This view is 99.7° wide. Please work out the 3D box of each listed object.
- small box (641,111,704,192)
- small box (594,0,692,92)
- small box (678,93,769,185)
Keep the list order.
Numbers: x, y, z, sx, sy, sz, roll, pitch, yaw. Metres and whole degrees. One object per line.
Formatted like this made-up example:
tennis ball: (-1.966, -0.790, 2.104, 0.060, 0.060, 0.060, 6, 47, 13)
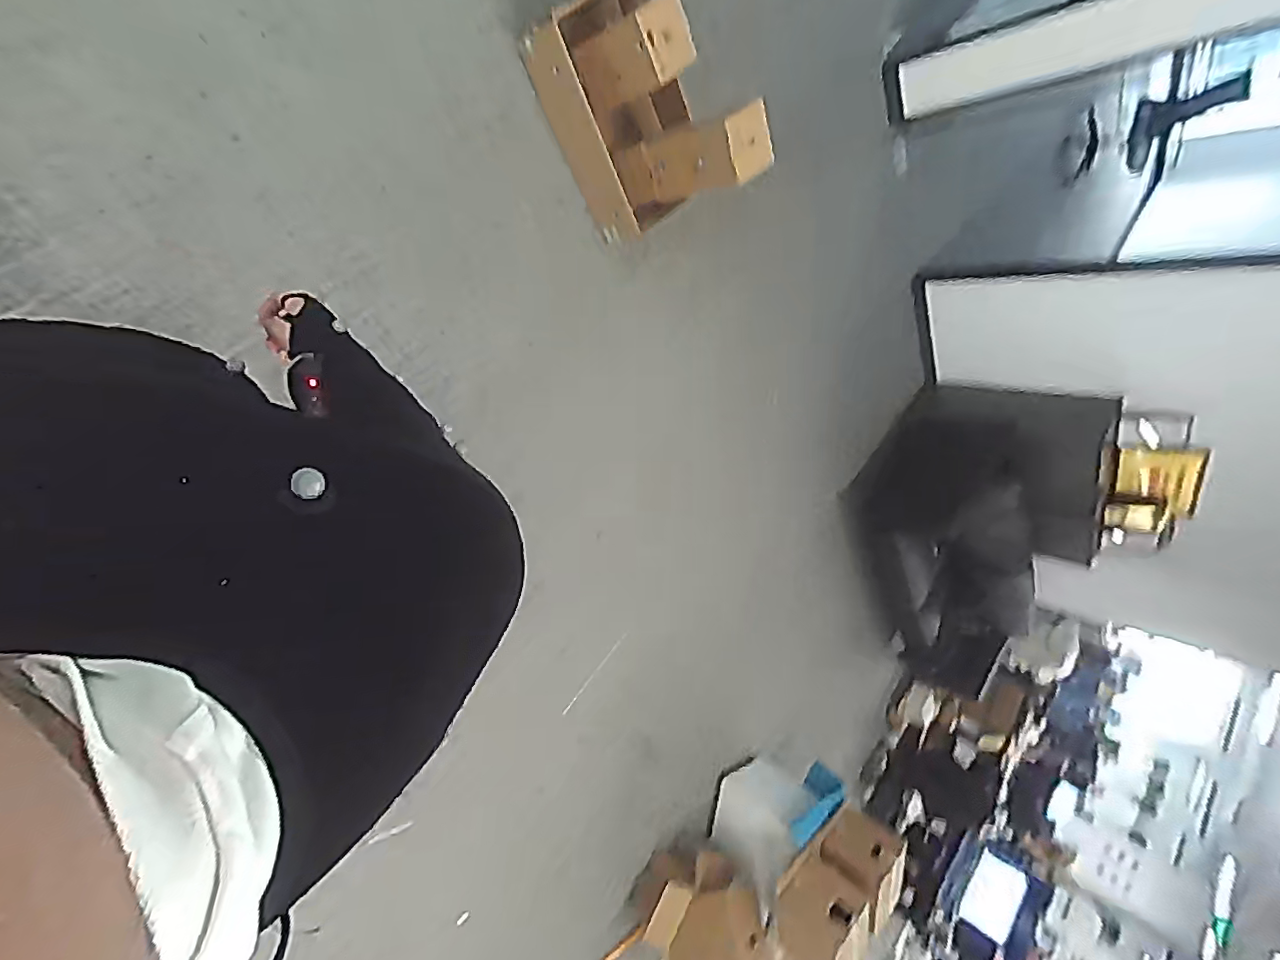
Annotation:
small box: (0.133, -1.018, 1.677, 0.179, 0.176, 0.168, -43, 129, -23)
small box: (0.007, -1.218, 1.493, 0.179, 0.176, 0.168, -50, 130, -20)
small box: (0.240, -0.977, 1.558, 0.179, 0.176, 0.168, -43, 128, -23)
